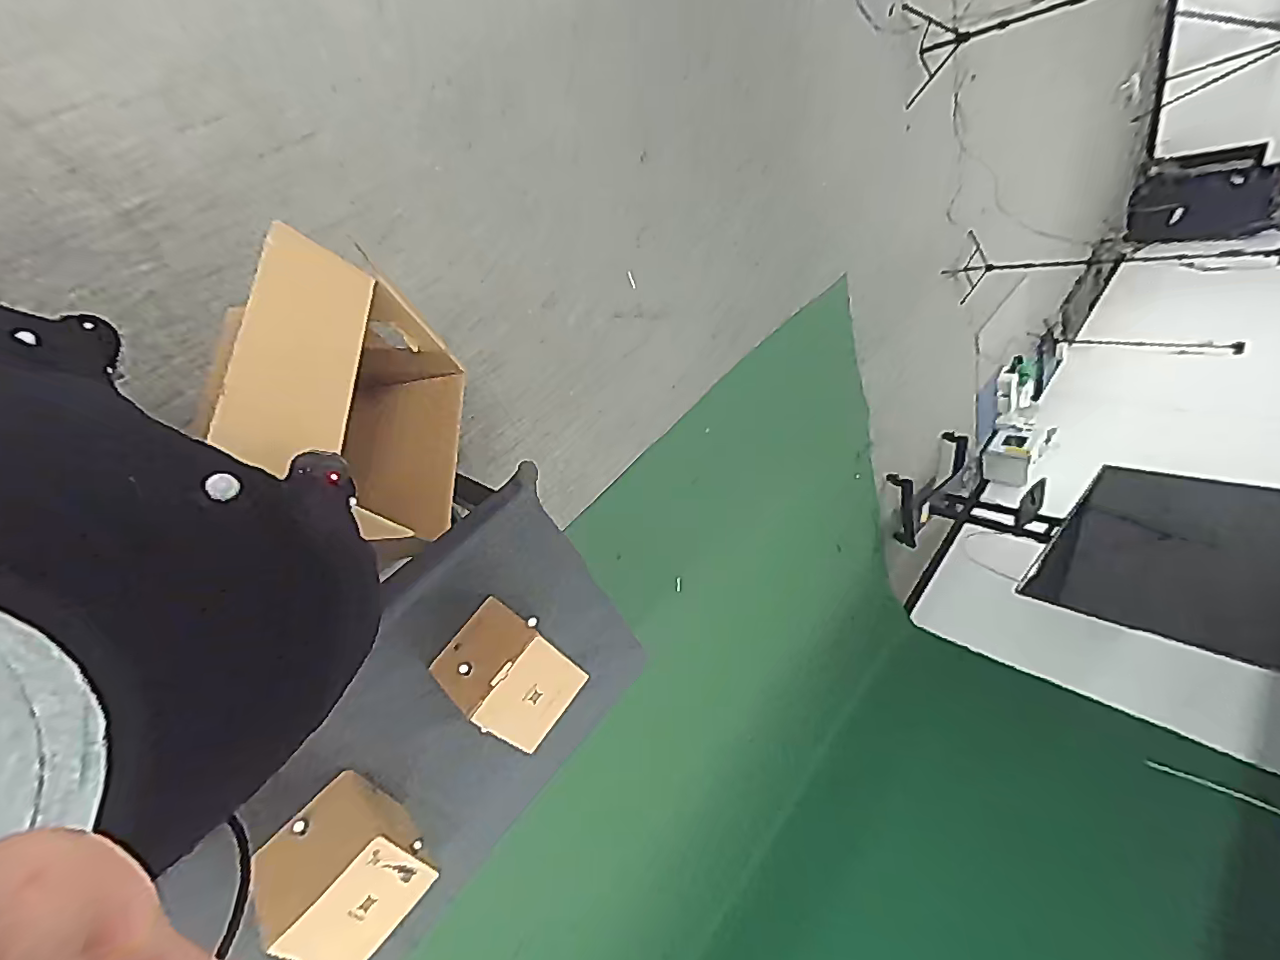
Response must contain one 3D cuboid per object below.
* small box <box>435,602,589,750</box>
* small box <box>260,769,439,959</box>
[{"bbox_3d":[-0.234,0.344,0.979,0.168,0.176,0.179,-50,133,-17],"label":"small box"},{"bbox_3d":[-0.459,0.607,0.849,0.179,0.176,0.168,-42,128,-25],"label":"small box"}]
